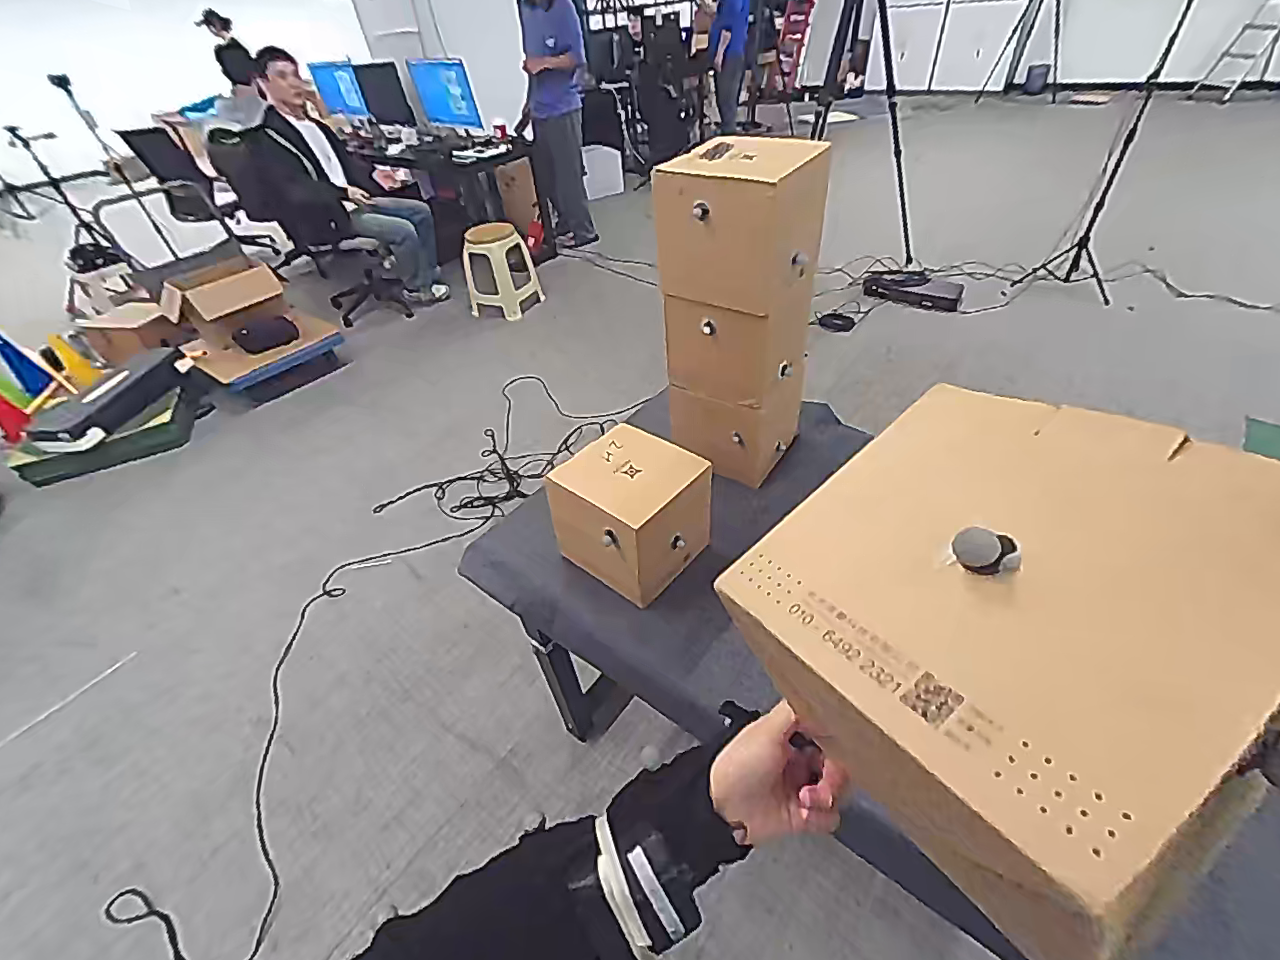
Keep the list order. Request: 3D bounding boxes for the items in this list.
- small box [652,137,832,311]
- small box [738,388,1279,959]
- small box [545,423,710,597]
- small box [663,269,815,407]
[{"bbox_3d":[0.137,-0.352,0.744,0.179,0.176,0.168,24,53,28],"label":"small box"},{"bbox_3d":[0.173,0.087,0.260,0.176,0.179,0.168,-39,35,-10],"label":"small box"},{"bbox_3d":[-0.013,0.047,0.807,0.179,0.176,0.168,27,49,31],"label":"small box"},{"bbox_3d":[0.155,-0.240,0.864,0.179,0.176,0.168,23,52,27],"label":"small box"}]
